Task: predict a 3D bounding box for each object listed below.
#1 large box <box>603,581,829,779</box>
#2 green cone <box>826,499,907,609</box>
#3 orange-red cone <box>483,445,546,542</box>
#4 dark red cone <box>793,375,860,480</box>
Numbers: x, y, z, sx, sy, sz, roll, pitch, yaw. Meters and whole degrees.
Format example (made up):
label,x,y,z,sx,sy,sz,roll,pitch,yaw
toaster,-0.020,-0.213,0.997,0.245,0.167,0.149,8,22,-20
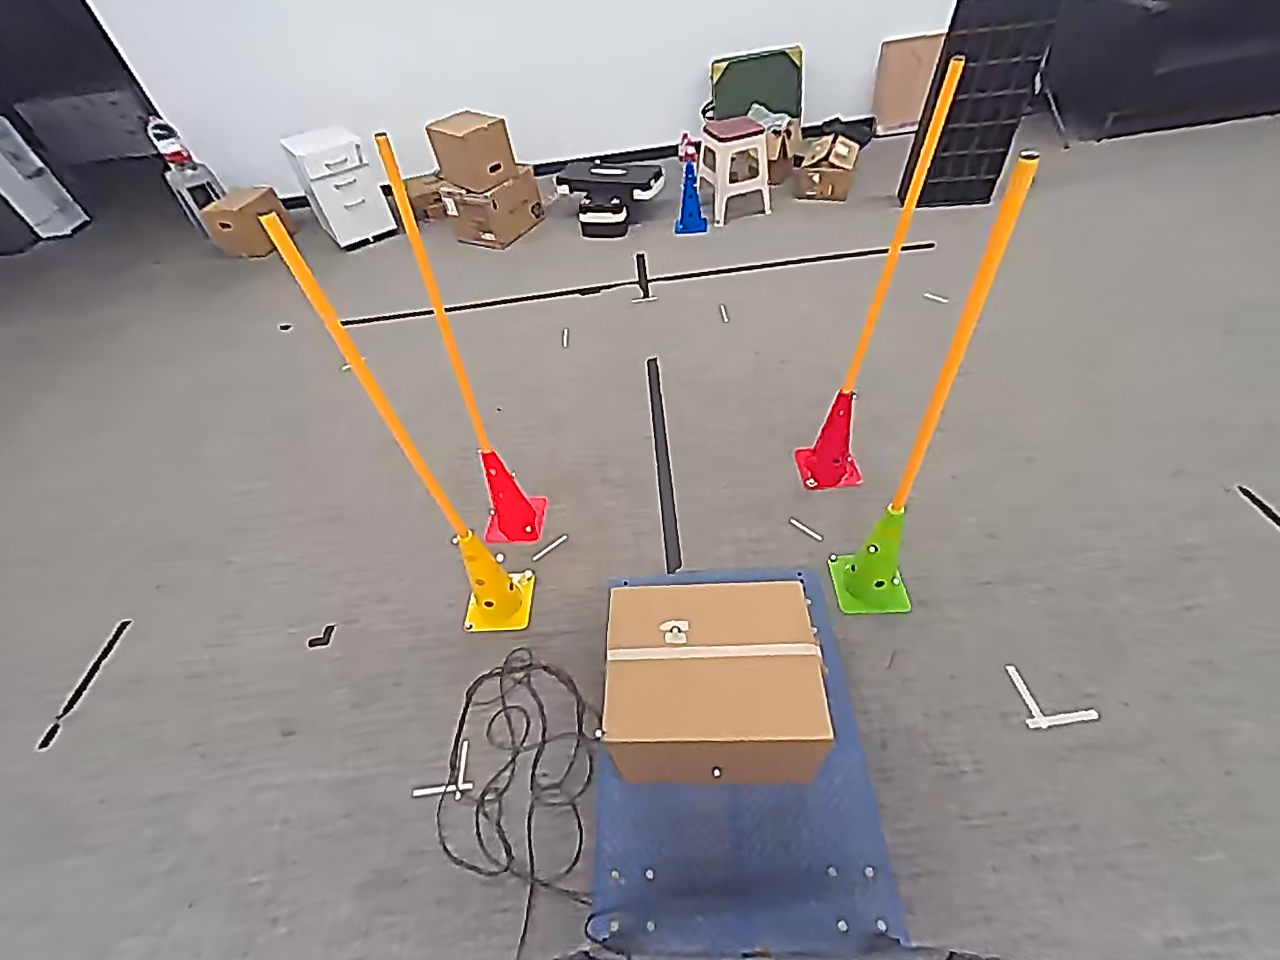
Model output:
label,x,y,z,sx,sy,sz,roll,pitch,yaw
large box,0.150,0.437,1.158,0.408,0.320,0.320,-4,48,6
green cone,0.668,0.187,1.509,0.202,0.368,0.200,-3,48,3
orange-red cone,-0.459,0.022,1.812,0.198,0.360,0.199,0,47,6
dark red cone,0.656,-0.184,1.821,0.201,0.394,0.202,-5,48,0
